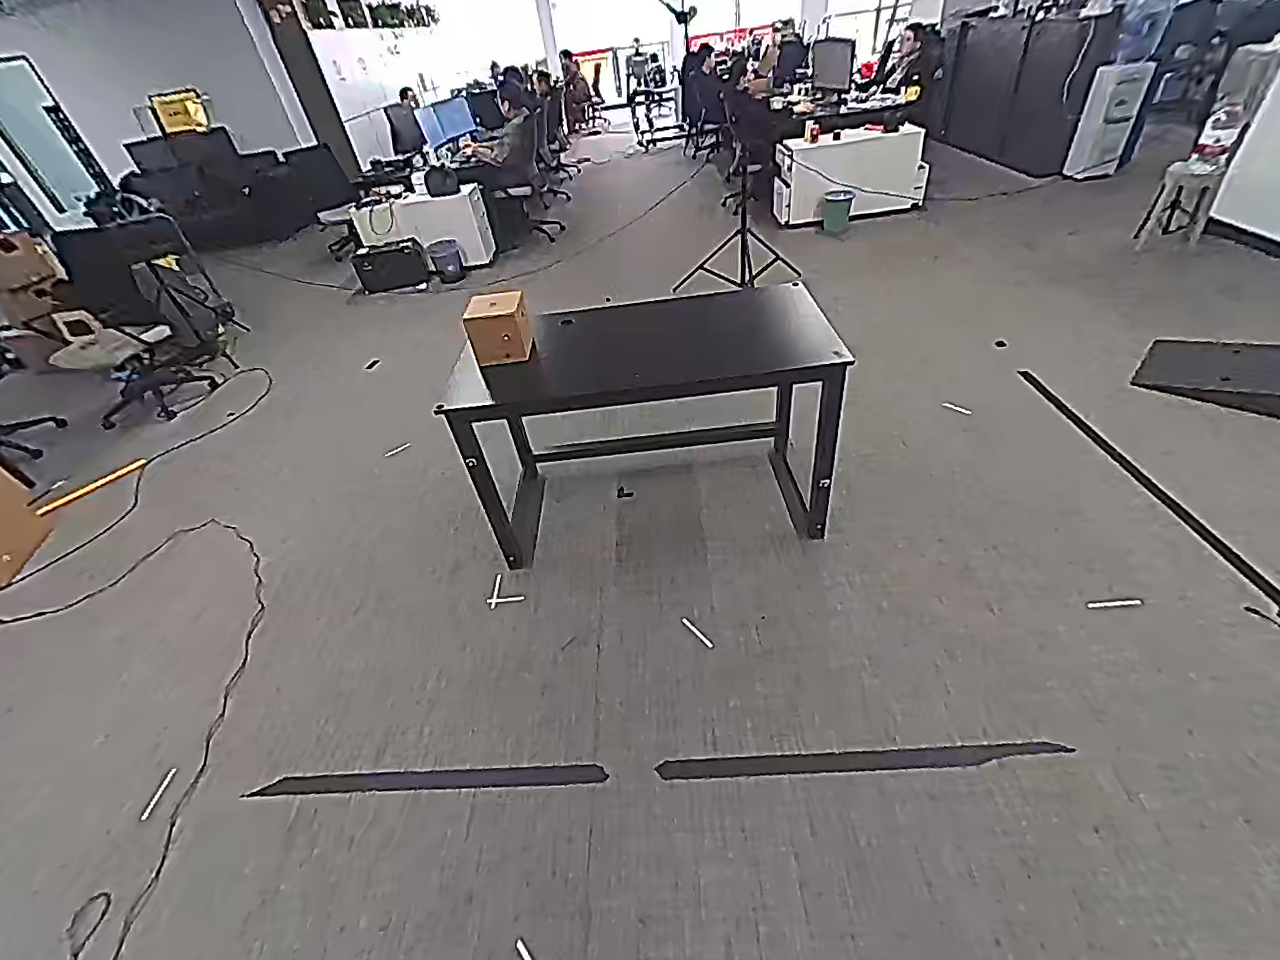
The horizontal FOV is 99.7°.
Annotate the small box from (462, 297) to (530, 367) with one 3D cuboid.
[{"bbox_3d":[-0.462,-0.478,1.768,0.168,0.176,0.179,-6,39,1],"label":"small box"}]
